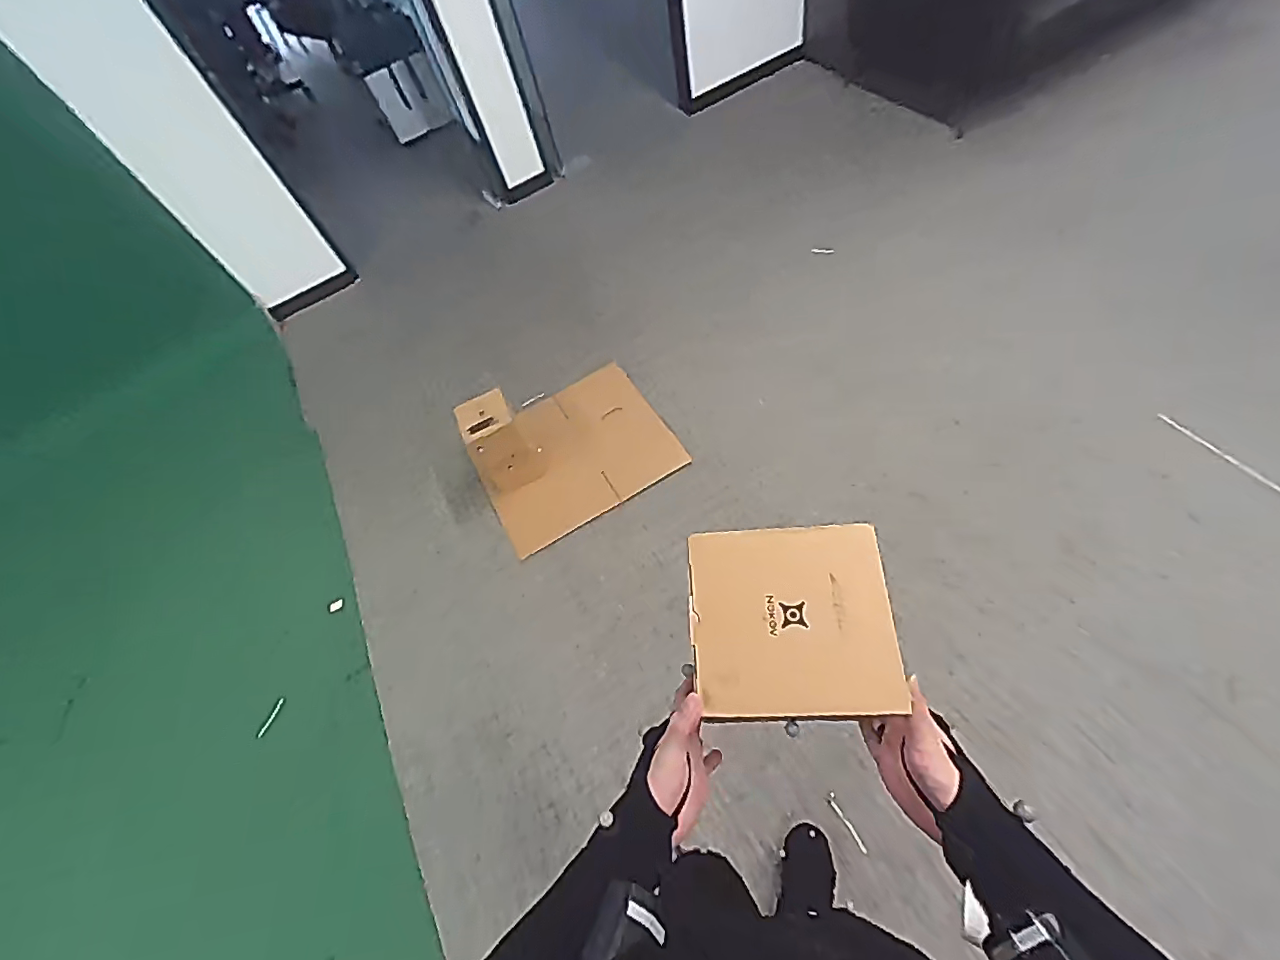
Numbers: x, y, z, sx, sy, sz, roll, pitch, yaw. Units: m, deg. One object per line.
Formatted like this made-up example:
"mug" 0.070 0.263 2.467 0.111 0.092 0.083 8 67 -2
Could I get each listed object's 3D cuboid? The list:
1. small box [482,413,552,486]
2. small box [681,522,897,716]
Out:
"small box" -0.446 -0.106 1.968 0.179 0.176 0.168 -26 57 -4
"small box" 0.139 0.152 0.557 0.179 0.176 0.168 -4 65 8
